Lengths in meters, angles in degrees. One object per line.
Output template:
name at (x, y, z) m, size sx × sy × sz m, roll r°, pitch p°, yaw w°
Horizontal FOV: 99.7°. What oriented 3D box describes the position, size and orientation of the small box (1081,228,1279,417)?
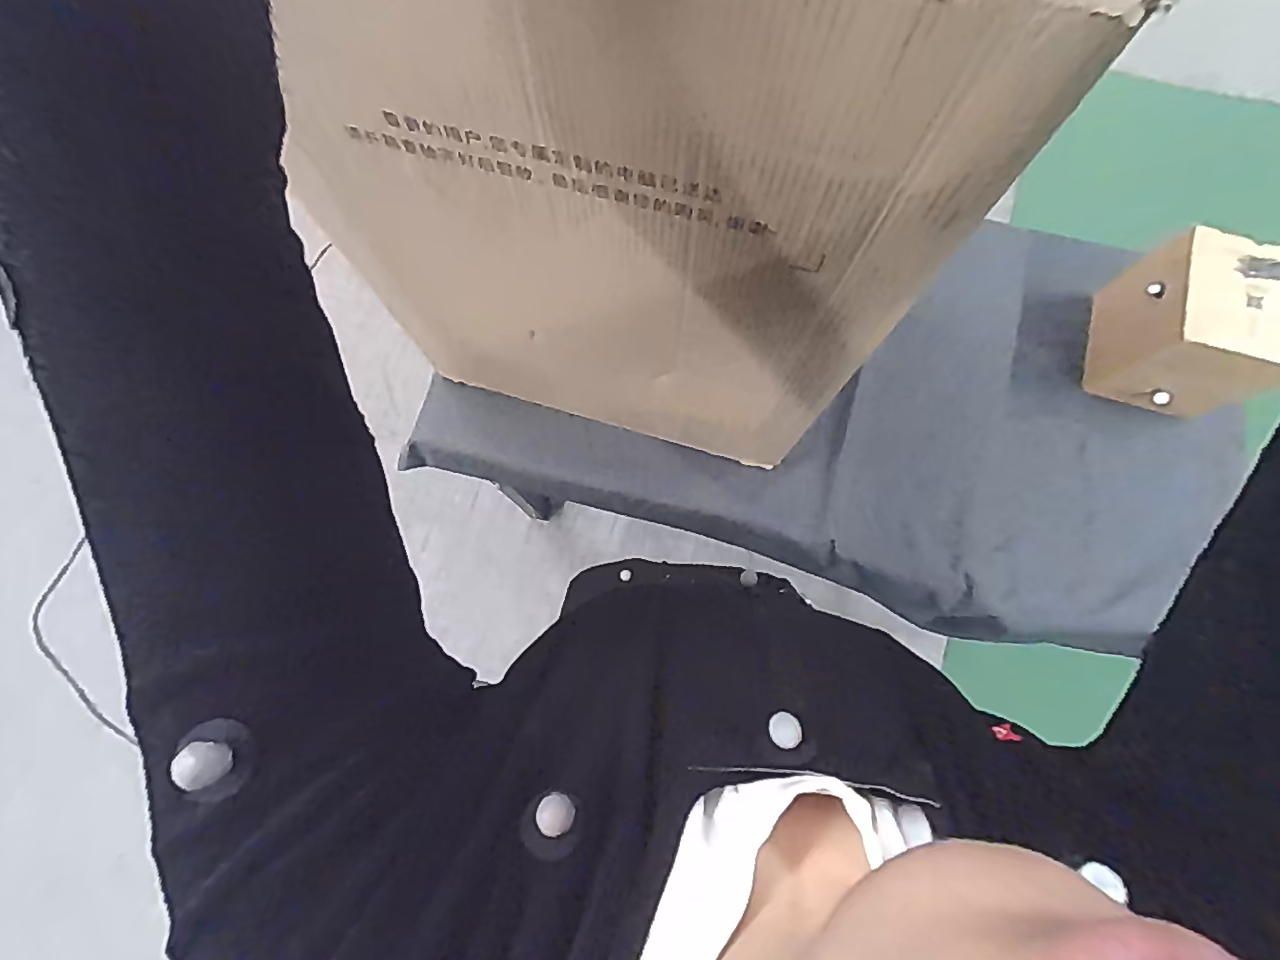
small box at (0.780, -0.214, 0.772) m, size 0.168 × 0.176 × 0.179 m, roll 17°, pitch 77°, yaw 5°
